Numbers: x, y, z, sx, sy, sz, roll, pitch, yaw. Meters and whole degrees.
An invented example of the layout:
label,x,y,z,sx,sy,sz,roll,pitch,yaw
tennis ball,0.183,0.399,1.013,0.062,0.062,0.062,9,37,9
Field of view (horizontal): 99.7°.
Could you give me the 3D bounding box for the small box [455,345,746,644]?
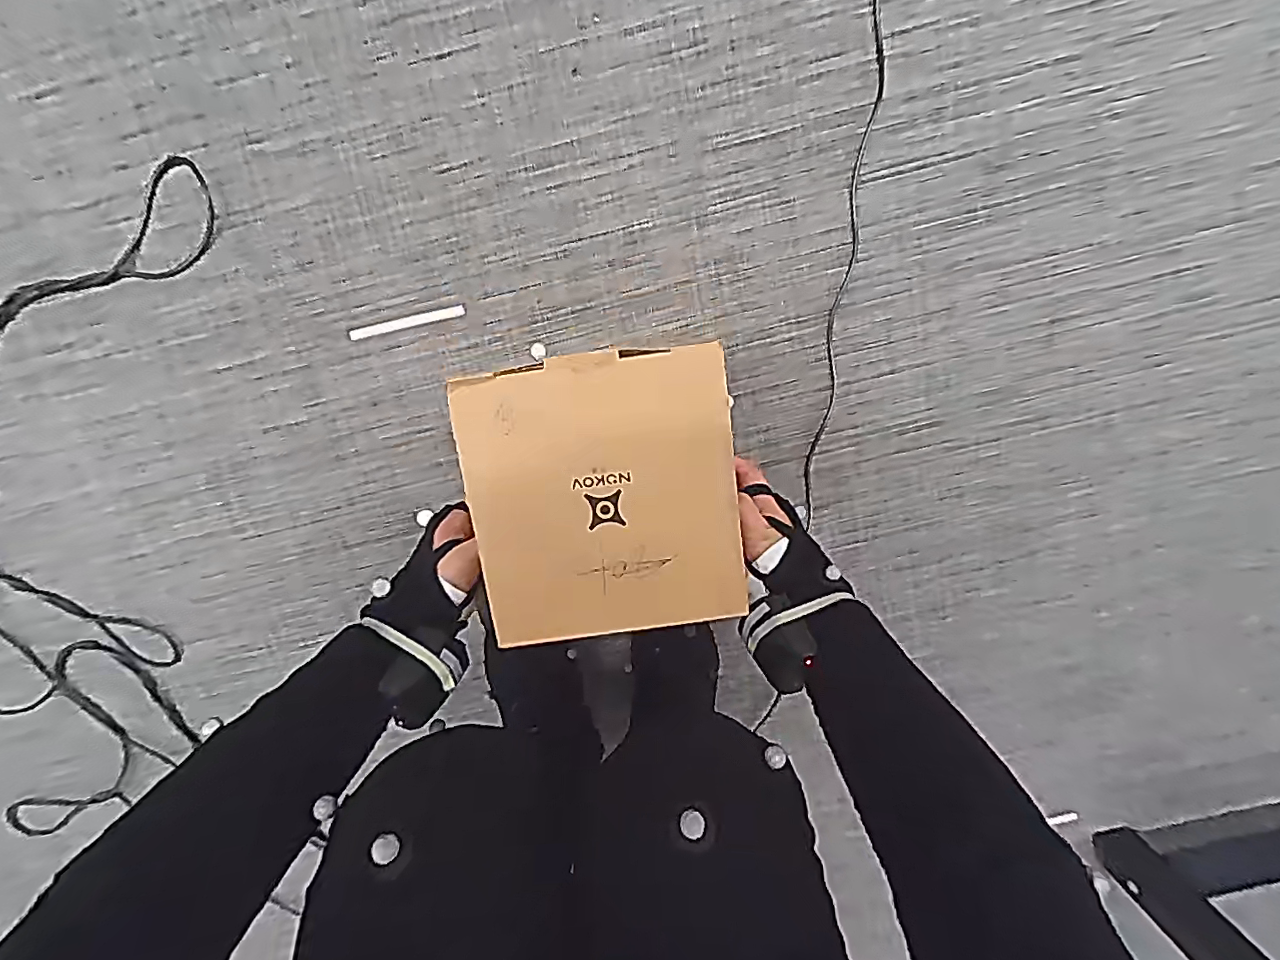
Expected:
label,x,y,z,sx,sy,sz,roll,pitch,yaw
small box,-0.023,-0.002,0.416,0.168,0.176,0.179,-8,103,1
